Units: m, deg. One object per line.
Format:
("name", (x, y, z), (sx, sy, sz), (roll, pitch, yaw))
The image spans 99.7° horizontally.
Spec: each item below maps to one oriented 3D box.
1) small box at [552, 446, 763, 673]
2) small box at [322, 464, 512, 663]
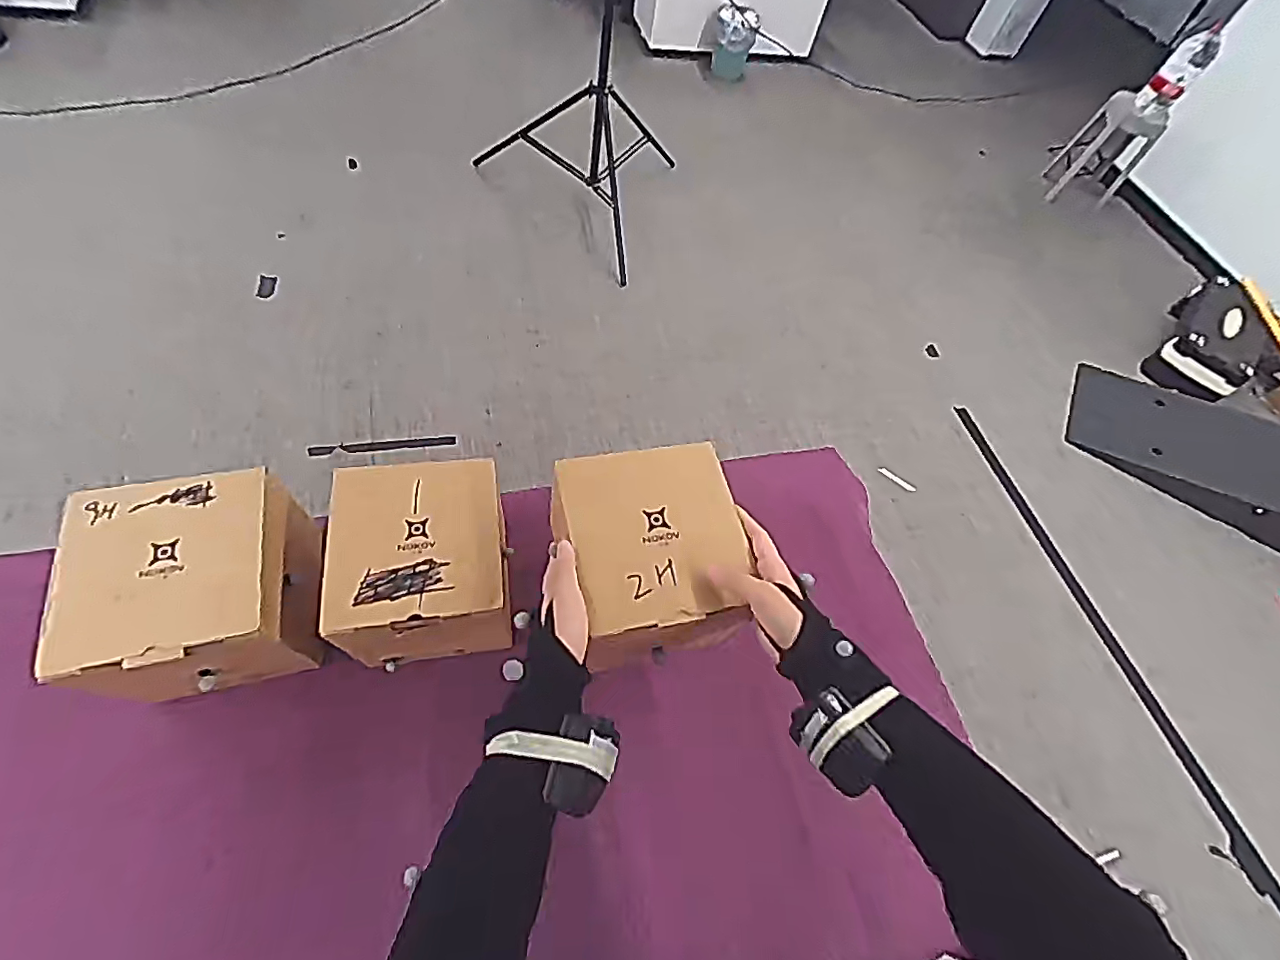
("small box", (0.001, 0.087, 0.573), (0.168, 0.176, 0.179), (-8, 62, -15))
("small box", (-0.237, 0.102, 0.615), (0.168, 0.176, 0.179), (-5, 62, -13))
